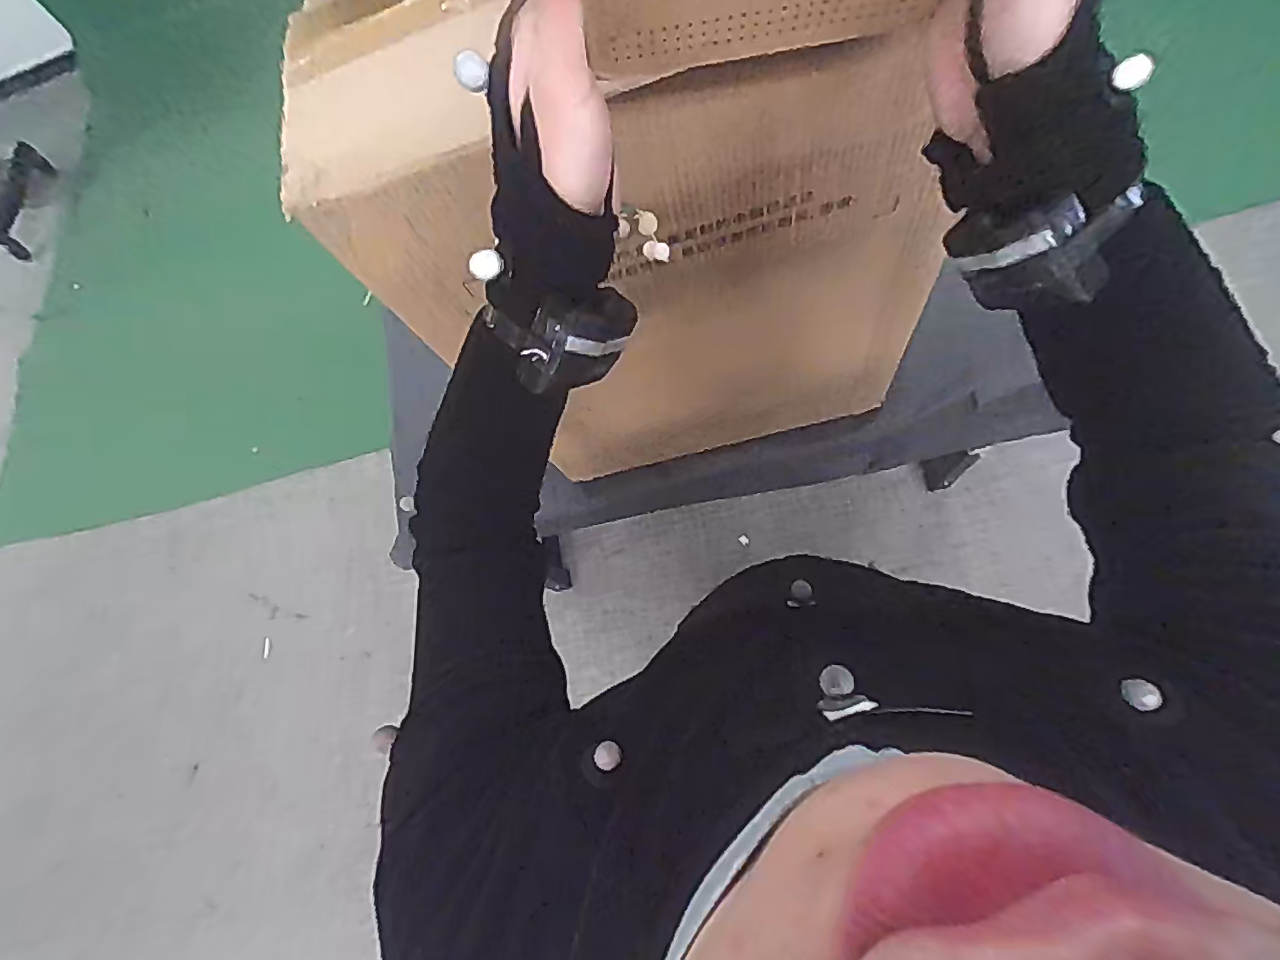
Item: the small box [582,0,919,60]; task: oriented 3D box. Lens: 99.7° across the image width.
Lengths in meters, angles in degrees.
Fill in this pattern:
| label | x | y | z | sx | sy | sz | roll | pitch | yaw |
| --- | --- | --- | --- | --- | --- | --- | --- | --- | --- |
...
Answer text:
| label | x | y | z | sx | sy | sz | roll | pitch | yaw |
| --- | --- | --- | --- | --- | --- | --- | --- | --- | --- |
| small box | 0.047 | -0.295 | 0.193 | 0.179 | 0.176 | 0.168 | -6 | 95 | 5 |
